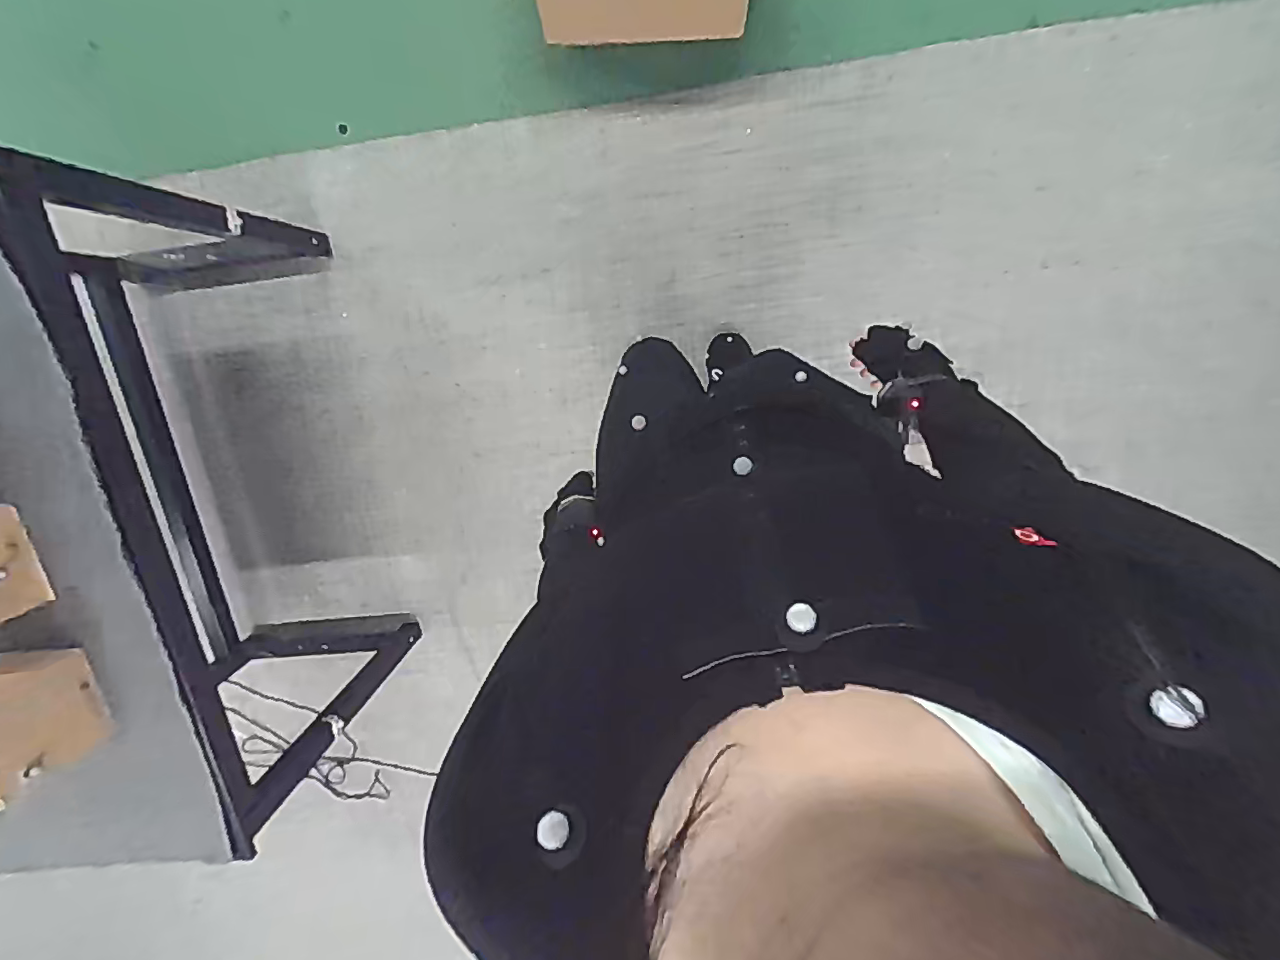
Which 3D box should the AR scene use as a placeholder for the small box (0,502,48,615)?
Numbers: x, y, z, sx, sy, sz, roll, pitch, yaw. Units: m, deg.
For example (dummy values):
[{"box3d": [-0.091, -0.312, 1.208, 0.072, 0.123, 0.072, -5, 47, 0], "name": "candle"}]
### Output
[{"box3d": [-1.043, 0.138, 0.779, 0.179, 0.176, 0.168, -6, 104, 5], "name": "small box"}]
